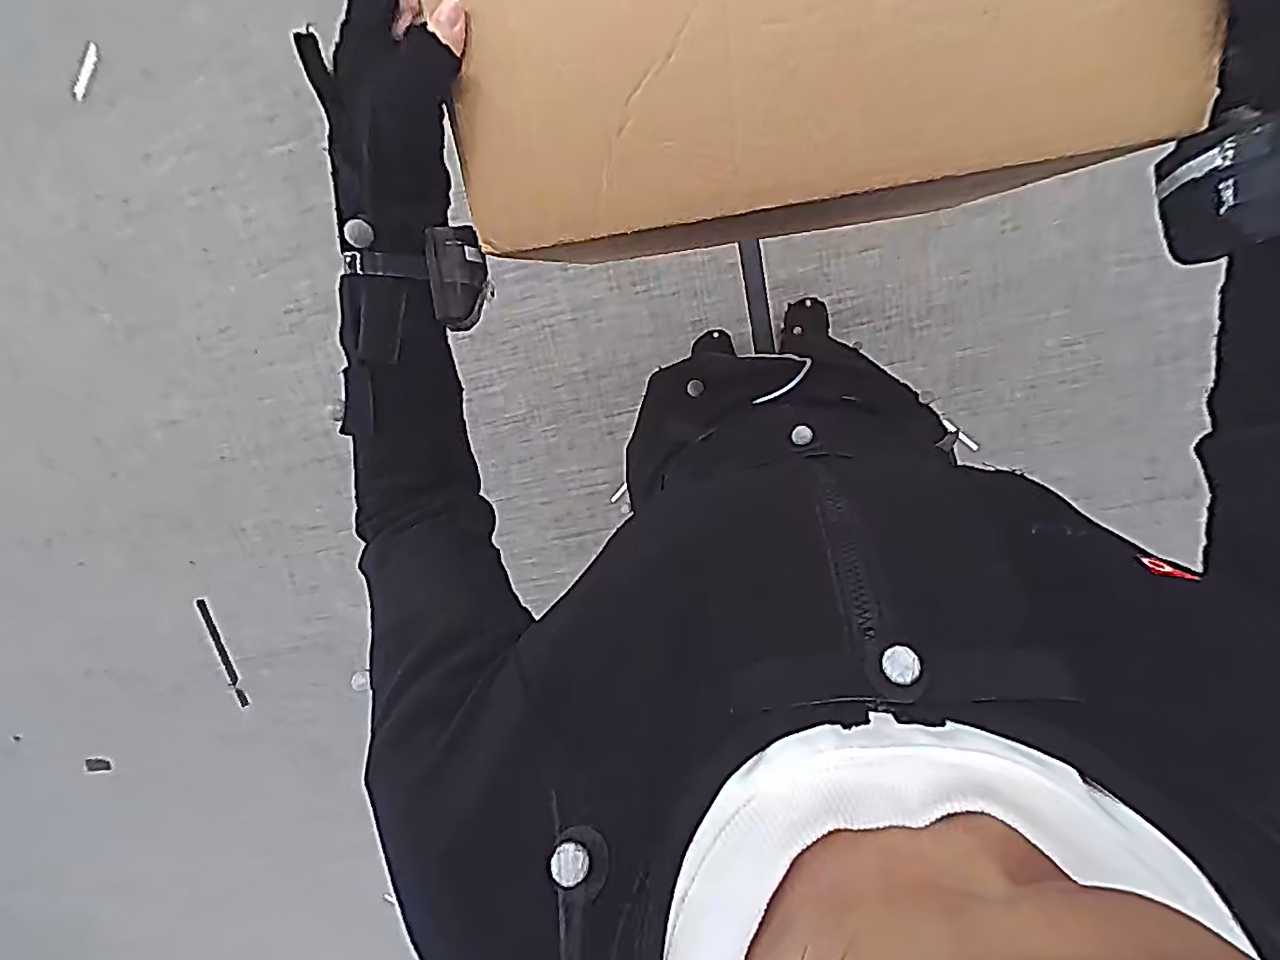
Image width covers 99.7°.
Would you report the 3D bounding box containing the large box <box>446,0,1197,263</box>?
[{"bbox_3d":[0.093,-0.369,0.418,0.408,0.320,0.320,-6,110,9],"label":"large box"}]
